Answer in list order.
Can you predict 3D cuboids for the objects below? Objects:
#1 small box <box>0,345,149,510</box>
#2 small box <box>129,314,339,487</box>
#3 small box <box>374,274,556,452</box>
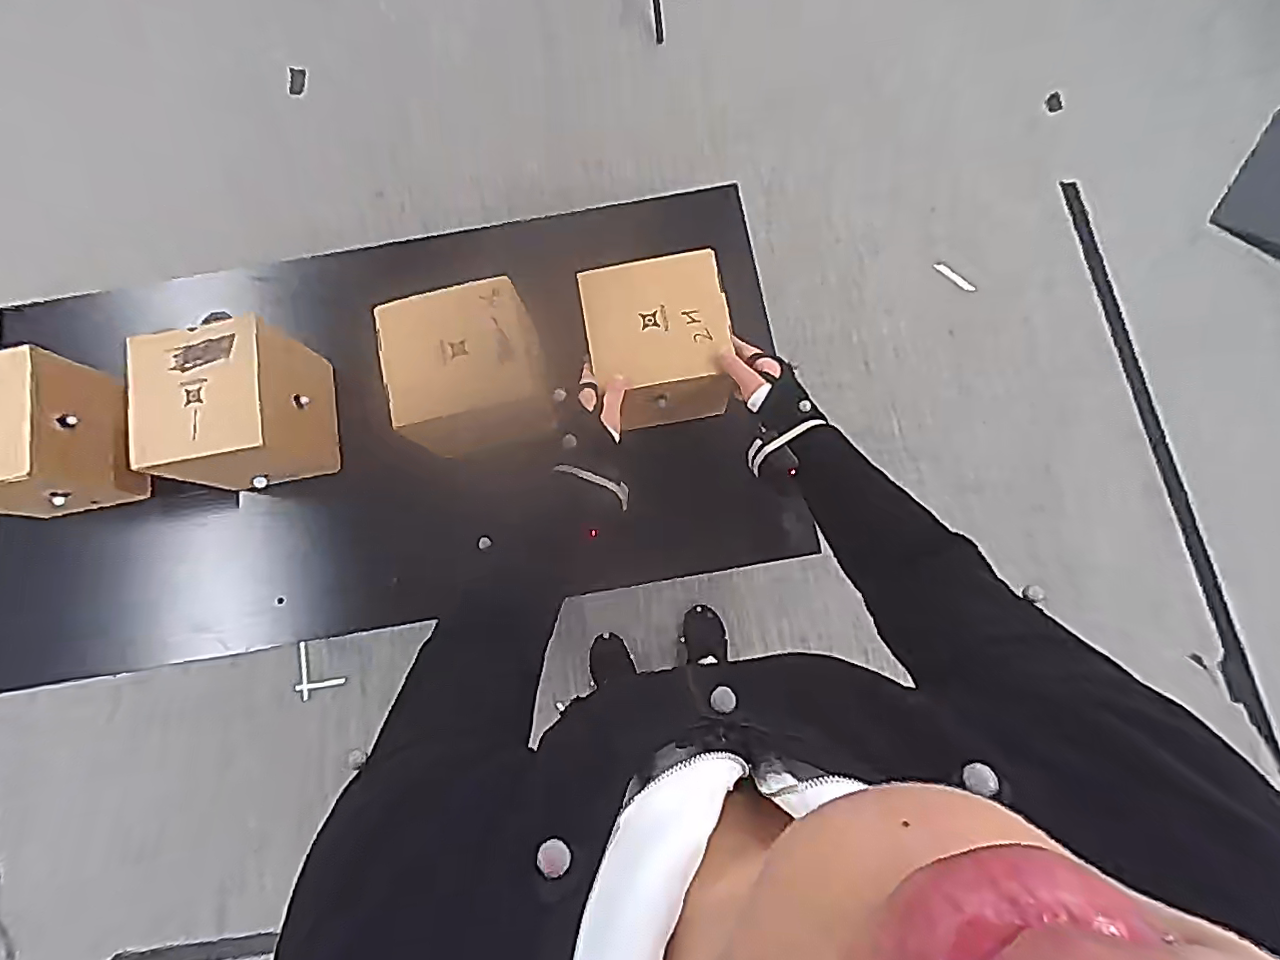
[{"bbox_3d":[-0.829,-0.059,0.746,0.168,0.176,0.179,-11,79,-2],"label":"small box"},{"bbox_3d":[-0.545,-0.100,0.745,0.168,0.176,0.179,-11,80,0],"label":"small box"},{"bbox_3d":[-0.230,-0.148,0.745,0.179,0.176,0.168,-14,80,0],"label":"small box"}]
